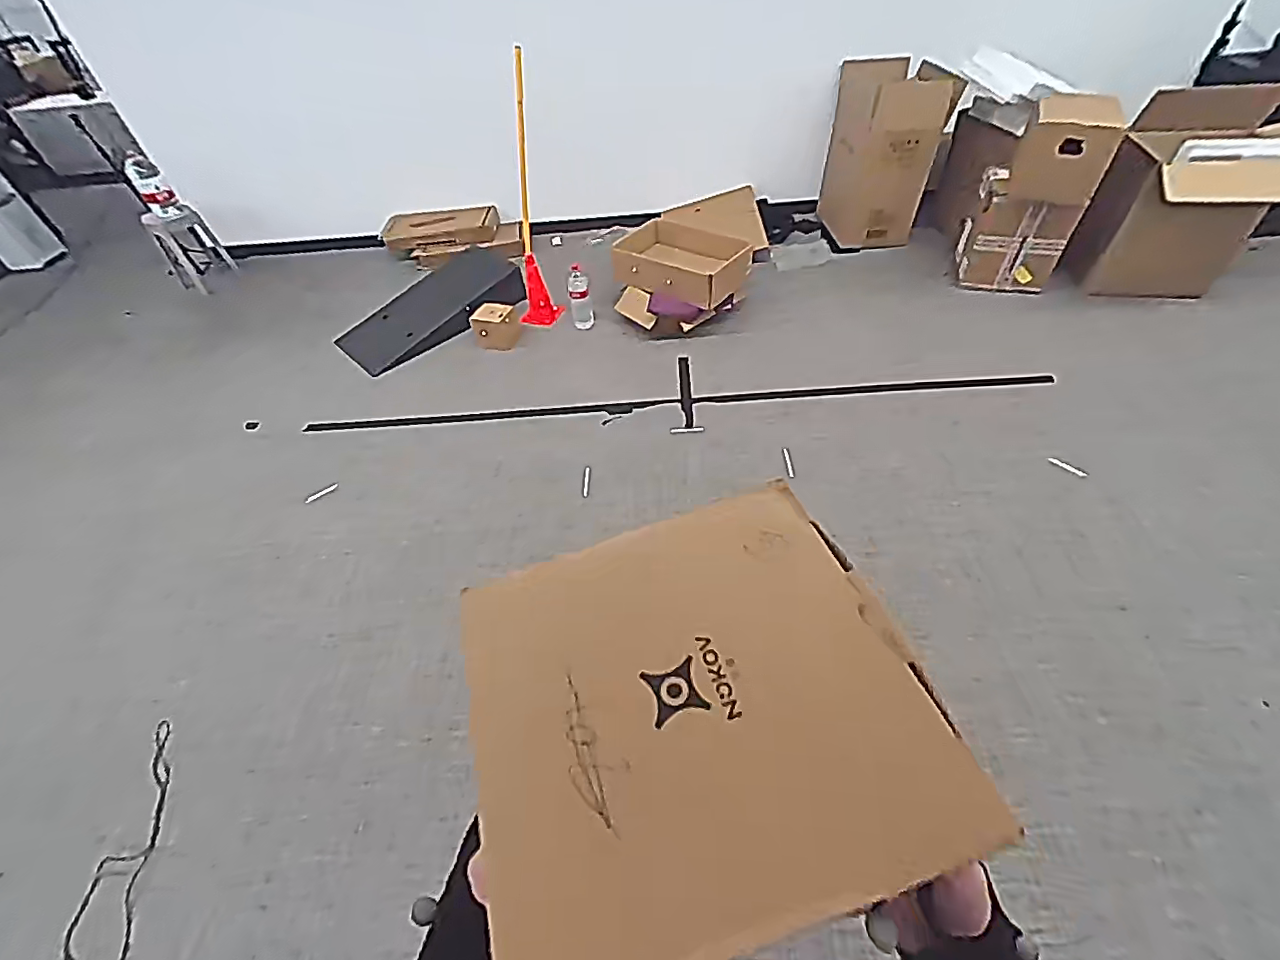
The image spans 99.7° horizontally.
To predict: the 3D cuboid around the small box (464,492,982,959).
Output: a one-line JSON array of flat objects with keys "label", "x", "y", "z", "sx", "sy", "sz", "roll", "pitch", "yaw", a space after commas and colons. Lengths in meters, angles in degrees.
[{"label": "small box", "x": 0.027, "y": 0.141, "z": 0.291, "sx": 0.179, "sy": 0.176, "sz": 0.168, "roll": -19, "pitch": 49, "yaw": -5}]
